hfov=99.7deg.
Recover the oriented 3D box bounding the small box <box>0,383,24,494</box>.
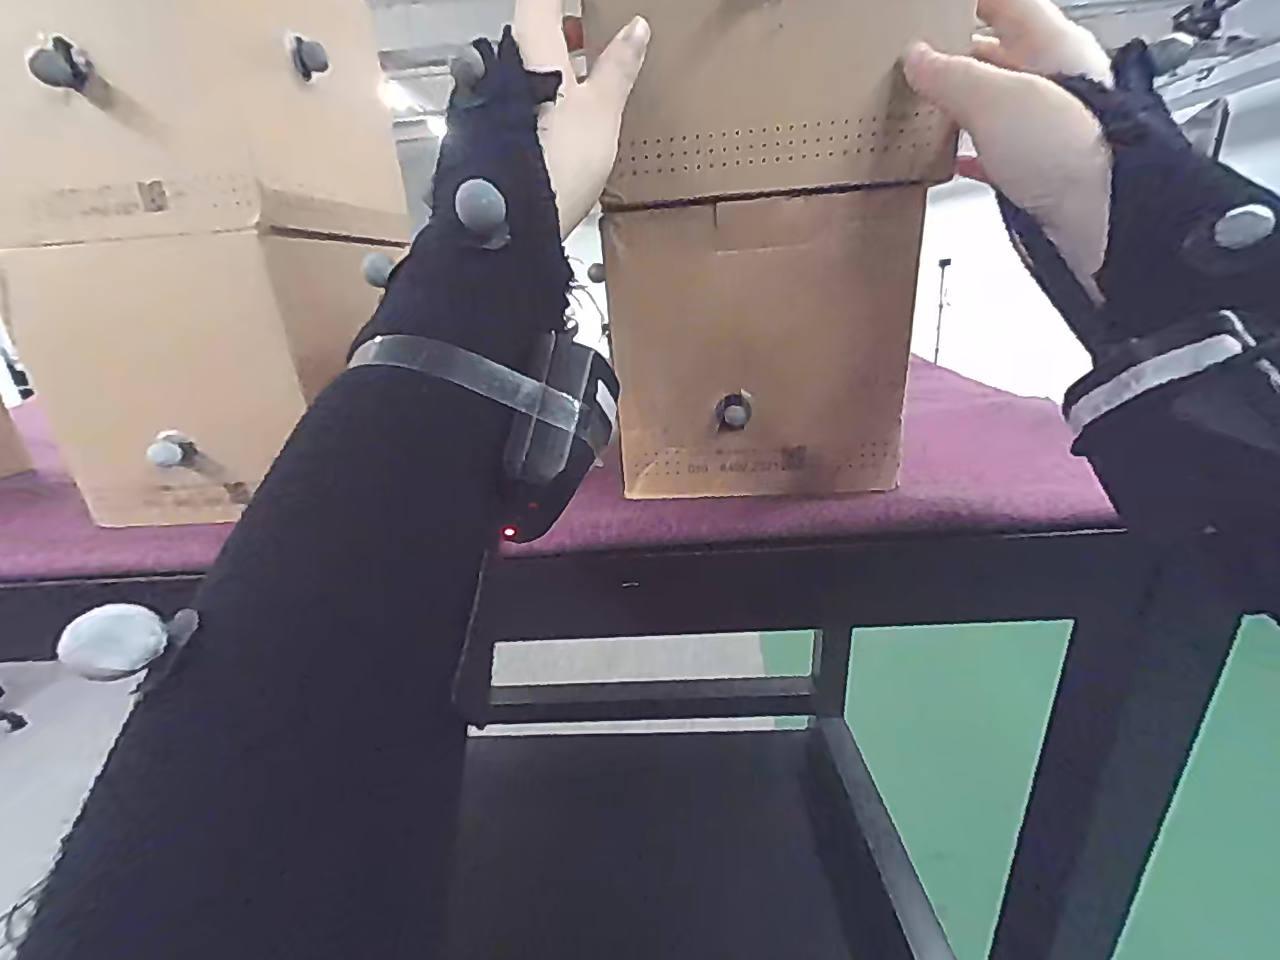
[{"bbox_3d":[-0.640,-0.043,0.404,0.168,0.176,0.179,-3,20,3],"label":"small box"}]

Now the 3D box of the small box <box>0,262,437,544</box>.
[{"bbox_3d":[-0.267,-0.065,0.399,0.168,0.176,0.179,-2,22,4],"label":"small box"}]

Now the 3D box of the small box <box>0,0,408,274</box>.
[{"bbox_3d":[-0.276,-0.222,0.351,0.168,0.176,0.179,-2,22,4],"label":"small box"}]

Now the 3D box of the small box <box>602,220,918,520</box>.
[{"bbox_3d":[0.071,-0.082,0.385,0.168,0.176,0.179,-2,22,6],"label":"small box"}]
